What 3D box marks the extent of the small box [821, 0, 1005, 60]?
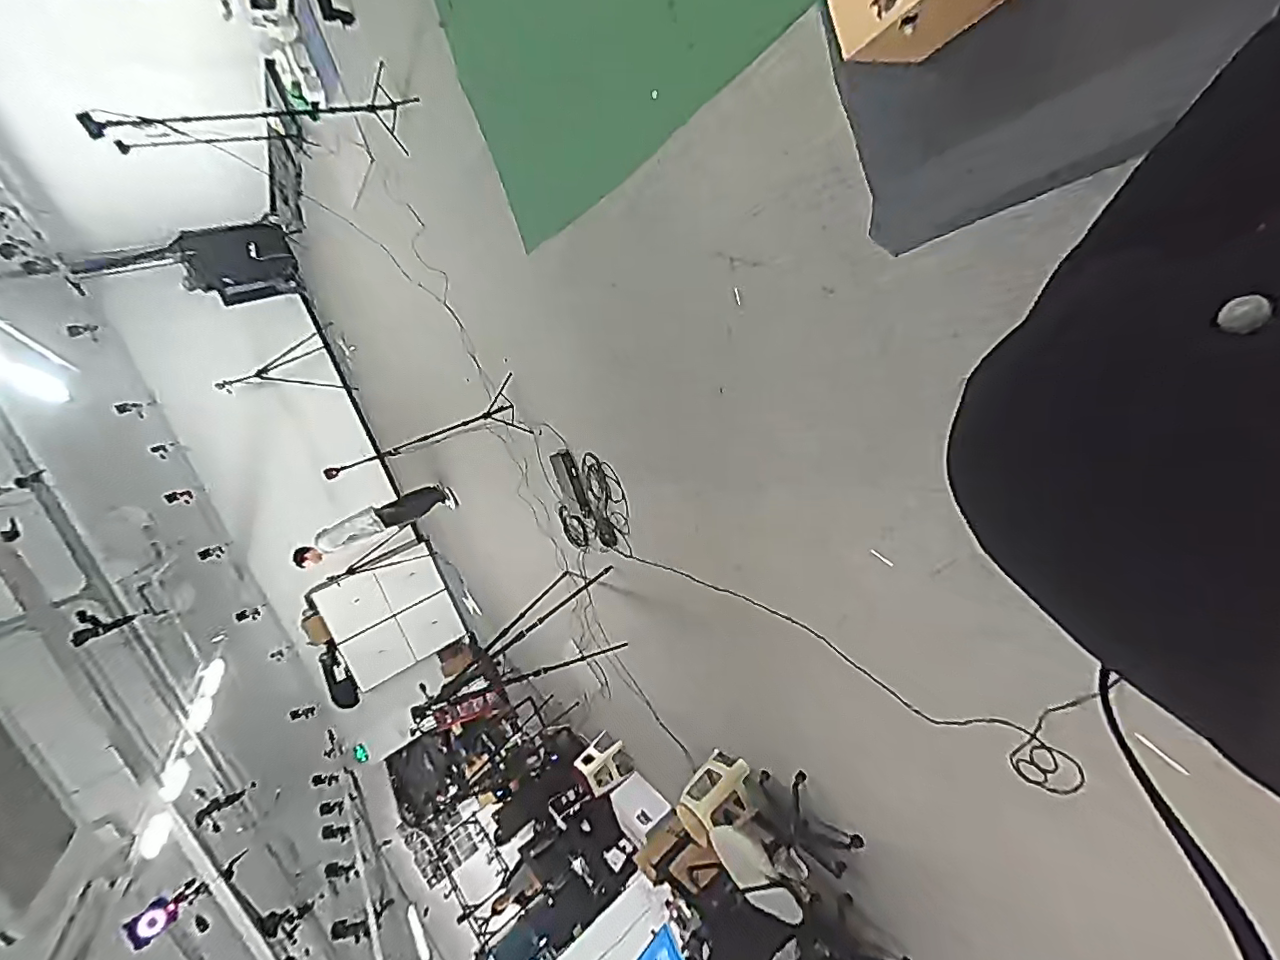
[{"bbox_3d":[0.303,-0.586,0.573,0.168,0.176,0.179,-5,109,57],"label":"small box"}]
